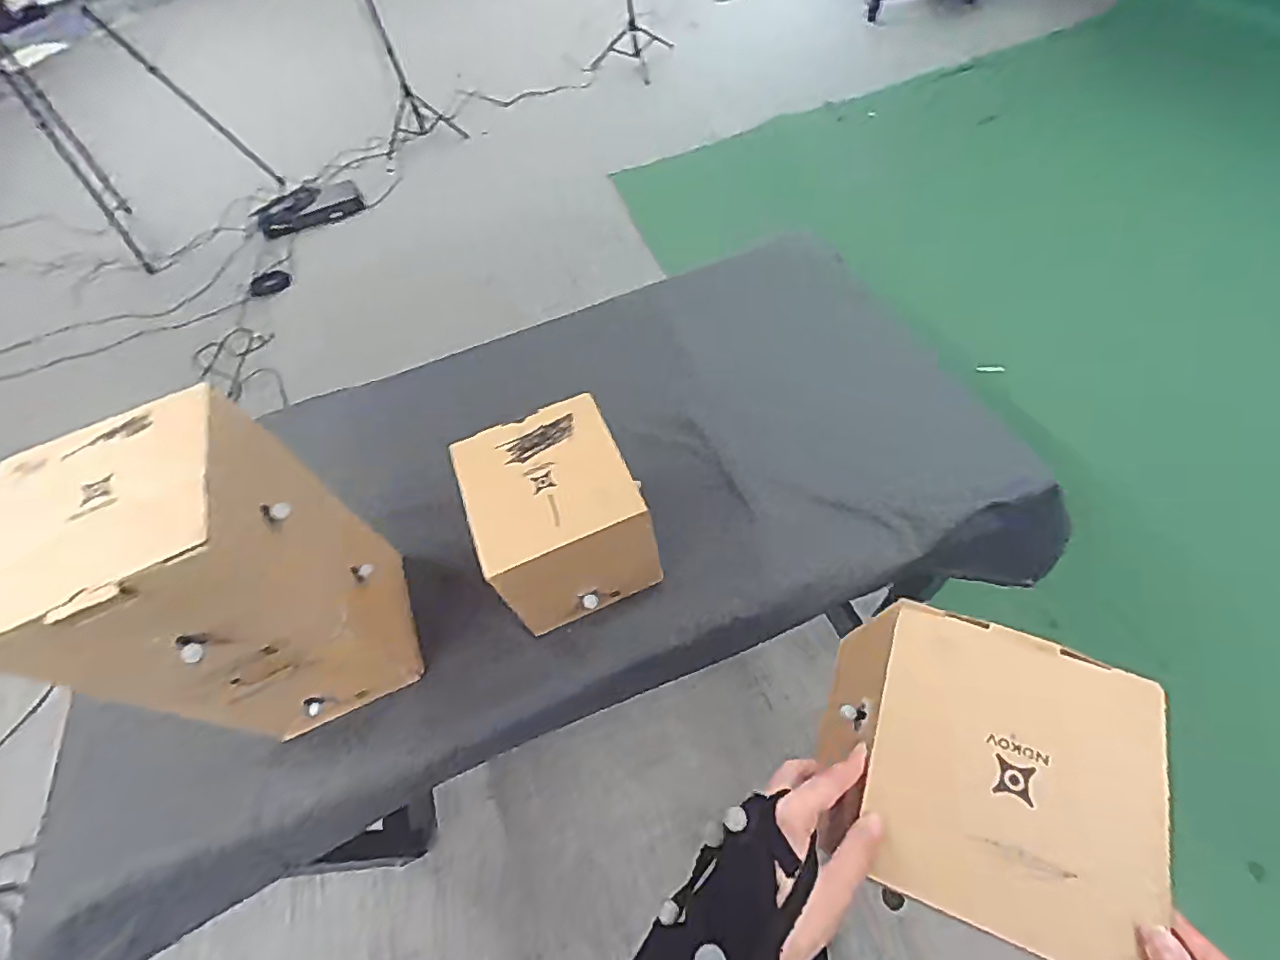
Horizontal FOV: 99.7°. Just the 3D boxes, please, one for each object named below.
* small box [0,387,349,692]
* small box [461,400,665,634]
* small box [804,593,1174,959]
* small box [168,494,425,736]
[{"bbox_3d":[-0.376,0.061,0.461,0.168,0.176,0.179,-25,57,-9],"label":"small box"},{"bbox_3d":[-0.082,0.046,0.621,0.168,0.176,0.179,-23,55,-6],"label":"small box"},{"bbox_3d":[0.232,0.212,0.400,0.168,0.176,0.179,17,65,13],"label":"small box"},{"bbox_3d":[-0.361,0.152,0.596,0.168,0.176,0.179,-24,56,-8],"label":"small box"}]
